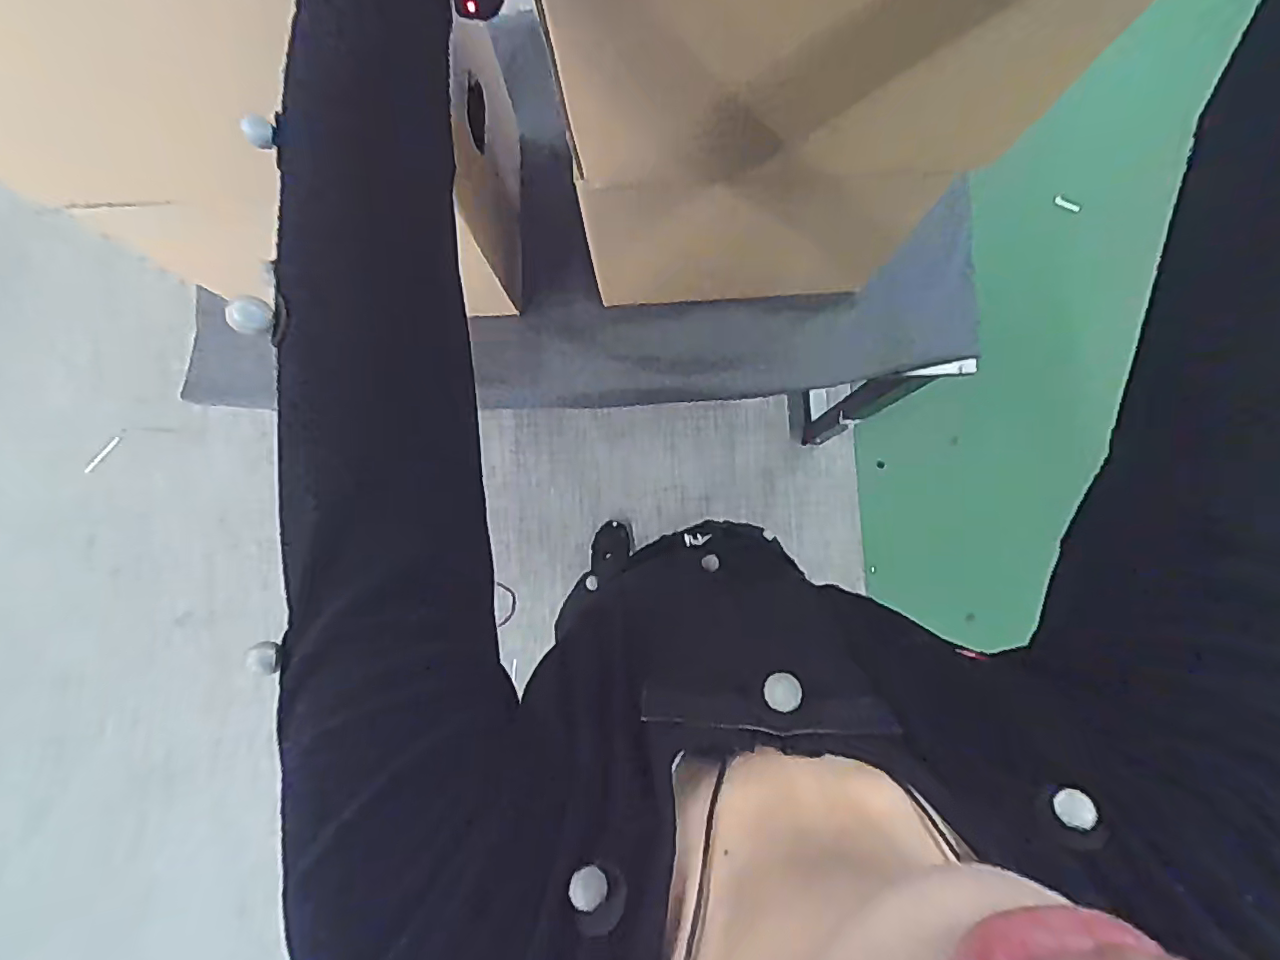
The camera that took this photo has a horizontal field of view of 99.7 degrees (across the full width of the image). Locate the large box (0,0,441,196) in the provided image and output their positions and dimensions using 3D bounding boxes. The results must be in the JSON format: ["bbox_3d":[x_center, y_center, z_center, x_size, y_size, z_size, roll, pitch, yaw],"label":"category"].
[{"bbox_3d":[-0.403,-0.454,0.410,0.408,0.320,0.320,-1,85,-1],"label":"large box"}]
